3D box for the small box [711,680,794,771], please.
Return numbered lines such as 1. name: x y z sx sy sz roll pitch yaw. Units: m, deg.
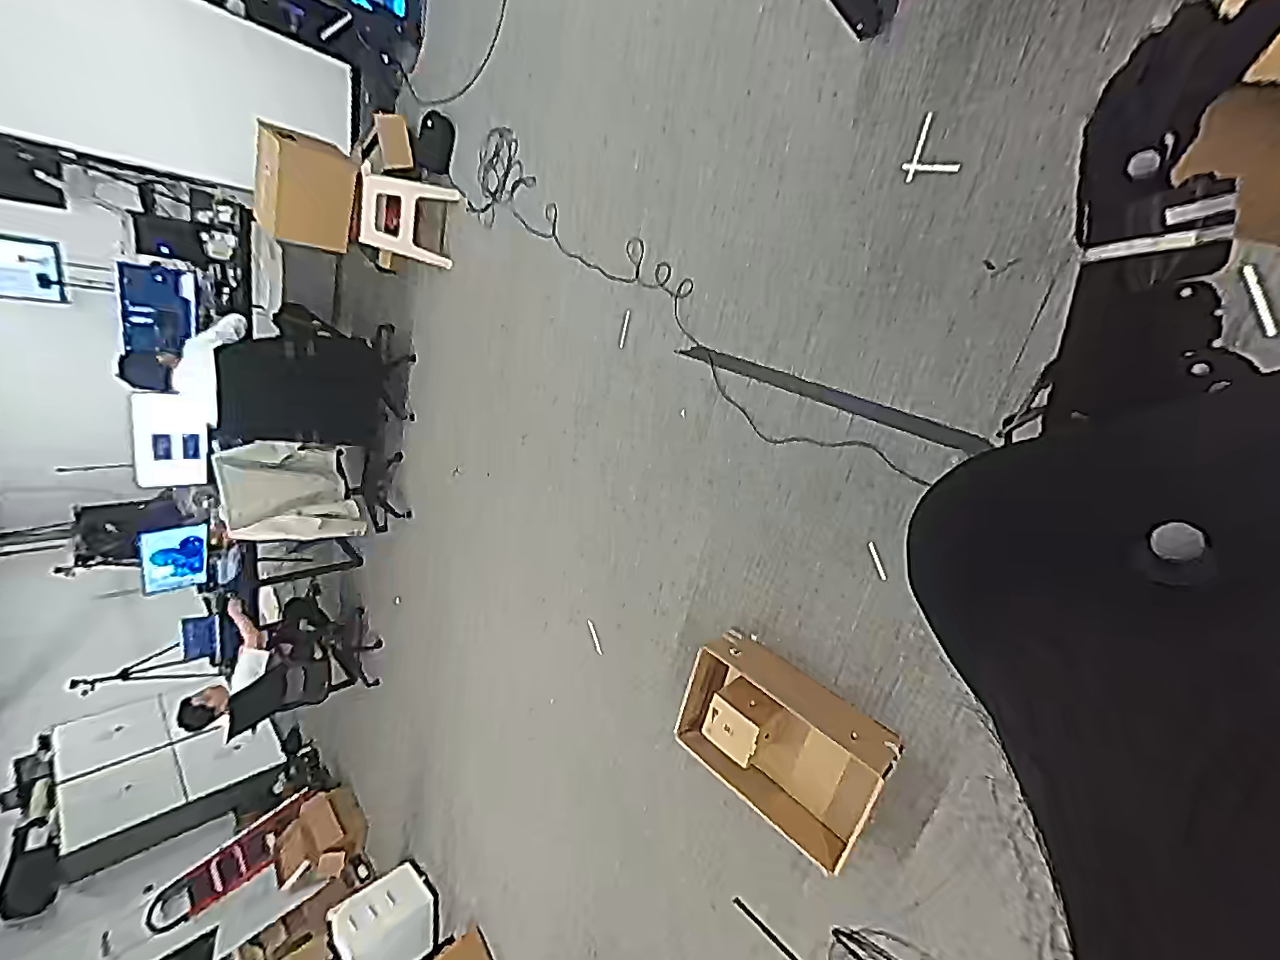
1. small box: 0.362 0.773 1.725 0.179 0.176 0.168 28 113 36
